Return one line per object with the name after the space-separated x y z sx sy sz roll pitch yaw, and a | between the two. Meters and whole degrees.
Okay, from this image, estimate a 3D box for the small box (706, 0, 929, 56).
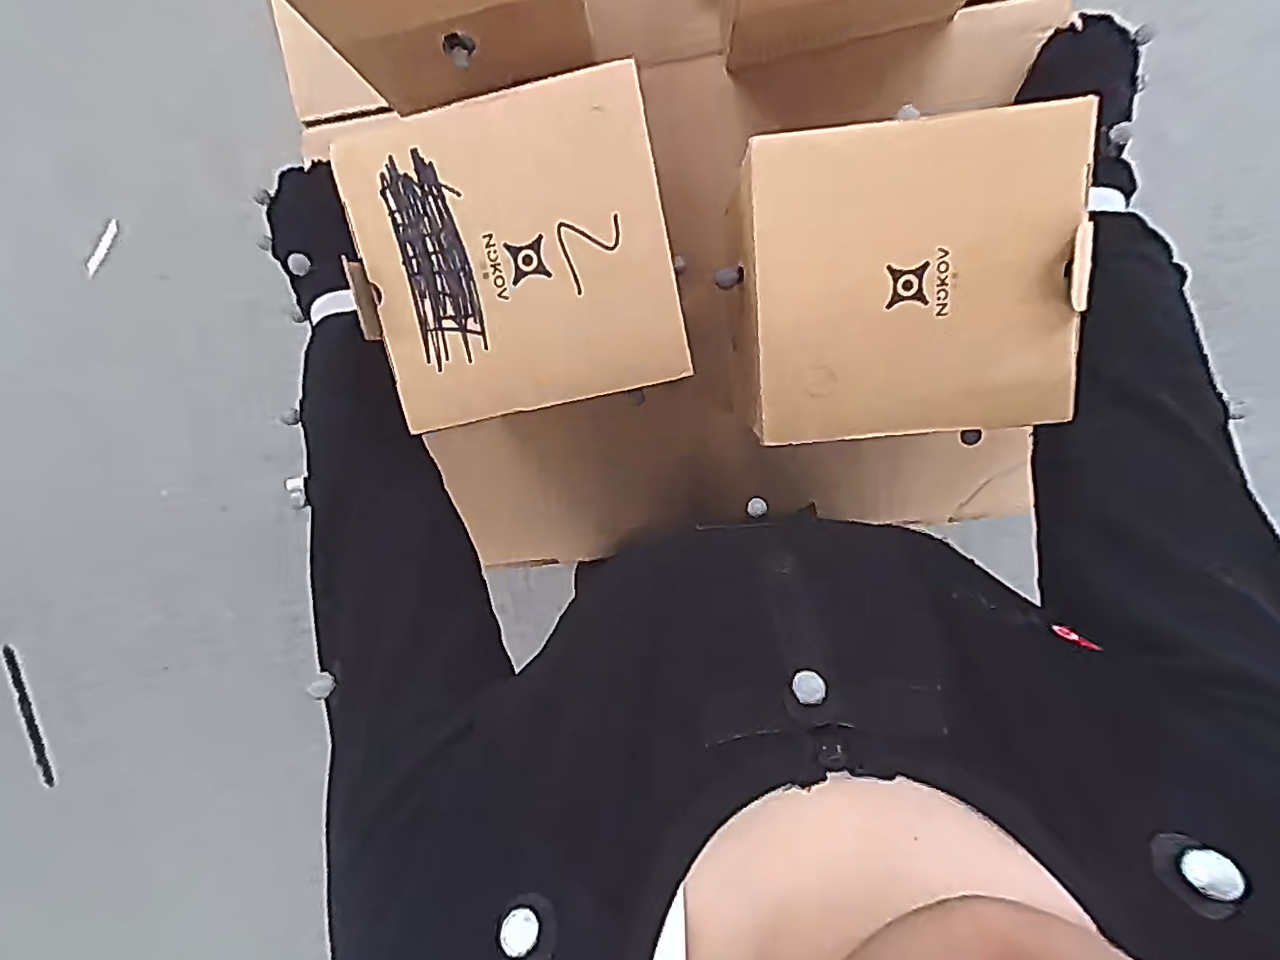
0.126 -0.404 0.322 0.179 0.176 0.168 -9 99 6 | small box

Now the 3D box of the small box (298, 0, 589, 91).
-0.134 -0.384 0.343 0.168 0.176 0.179 -7 99 4 | small box
